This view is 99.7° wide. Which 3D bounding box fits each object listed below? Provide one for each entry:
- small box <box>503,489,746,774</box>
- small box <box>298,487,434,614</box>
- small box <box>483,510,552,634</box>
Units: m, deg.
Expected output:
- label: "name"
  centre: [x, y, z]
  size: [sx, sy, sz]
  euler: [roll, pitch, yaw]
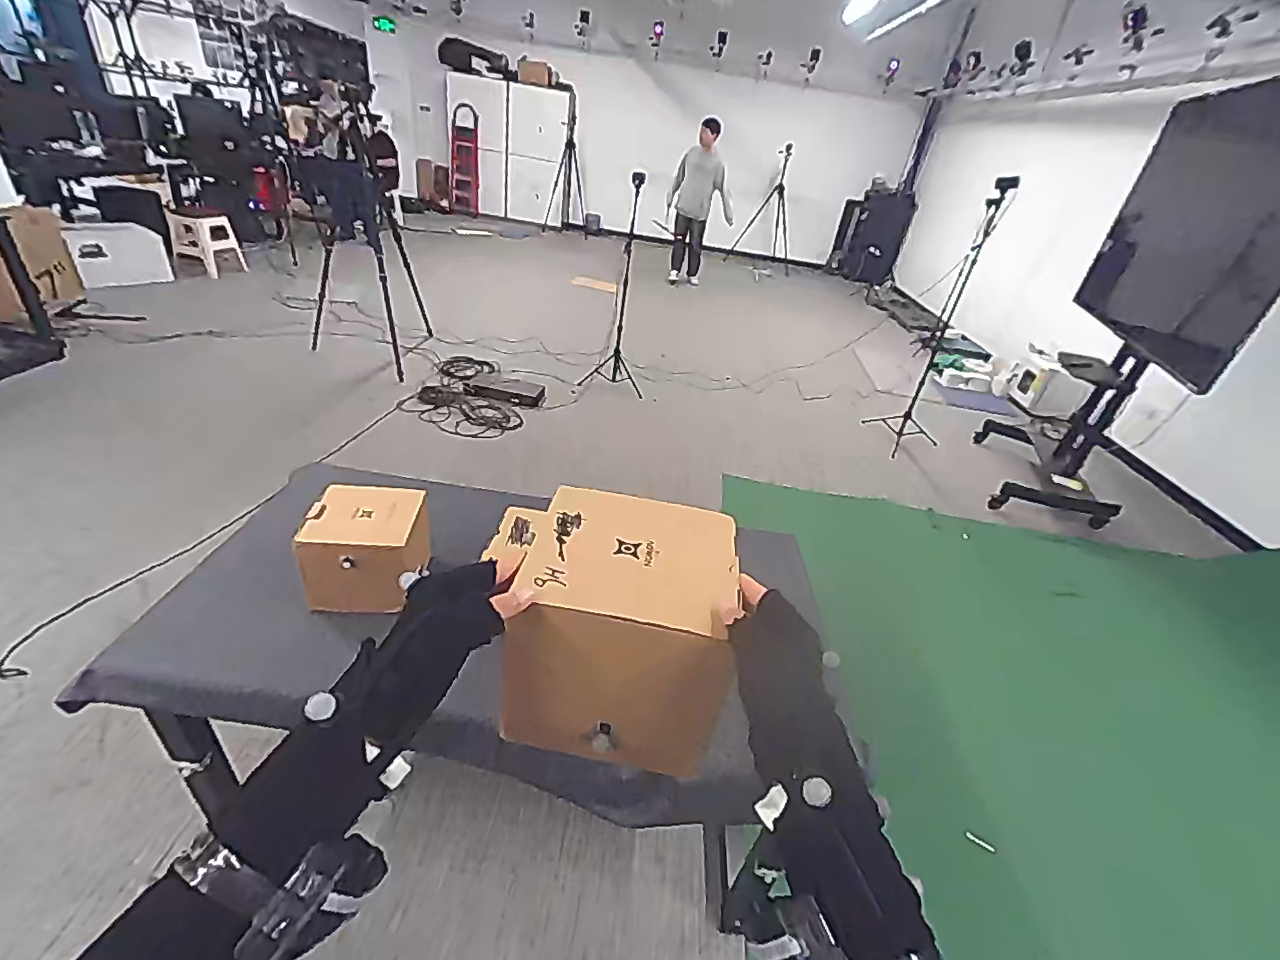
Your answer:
- label: "small box"
  centre: [-0.014, 0.134, 0.494]
  size: [0.179, 0.176, 0.168]
  euler: [12, 28, 1]
- label: "small box"
  centre: [-0.494, 0.132, 1.003]
  size: [0.179, 0.176, 0.168]
  euler: [5, 34, -10]
- label: "small box"
  centre: [-0.181, 0.180, 1.007]
  size: [0.179, 0.176, 0.168]
  euler: [10, 32, 0]
